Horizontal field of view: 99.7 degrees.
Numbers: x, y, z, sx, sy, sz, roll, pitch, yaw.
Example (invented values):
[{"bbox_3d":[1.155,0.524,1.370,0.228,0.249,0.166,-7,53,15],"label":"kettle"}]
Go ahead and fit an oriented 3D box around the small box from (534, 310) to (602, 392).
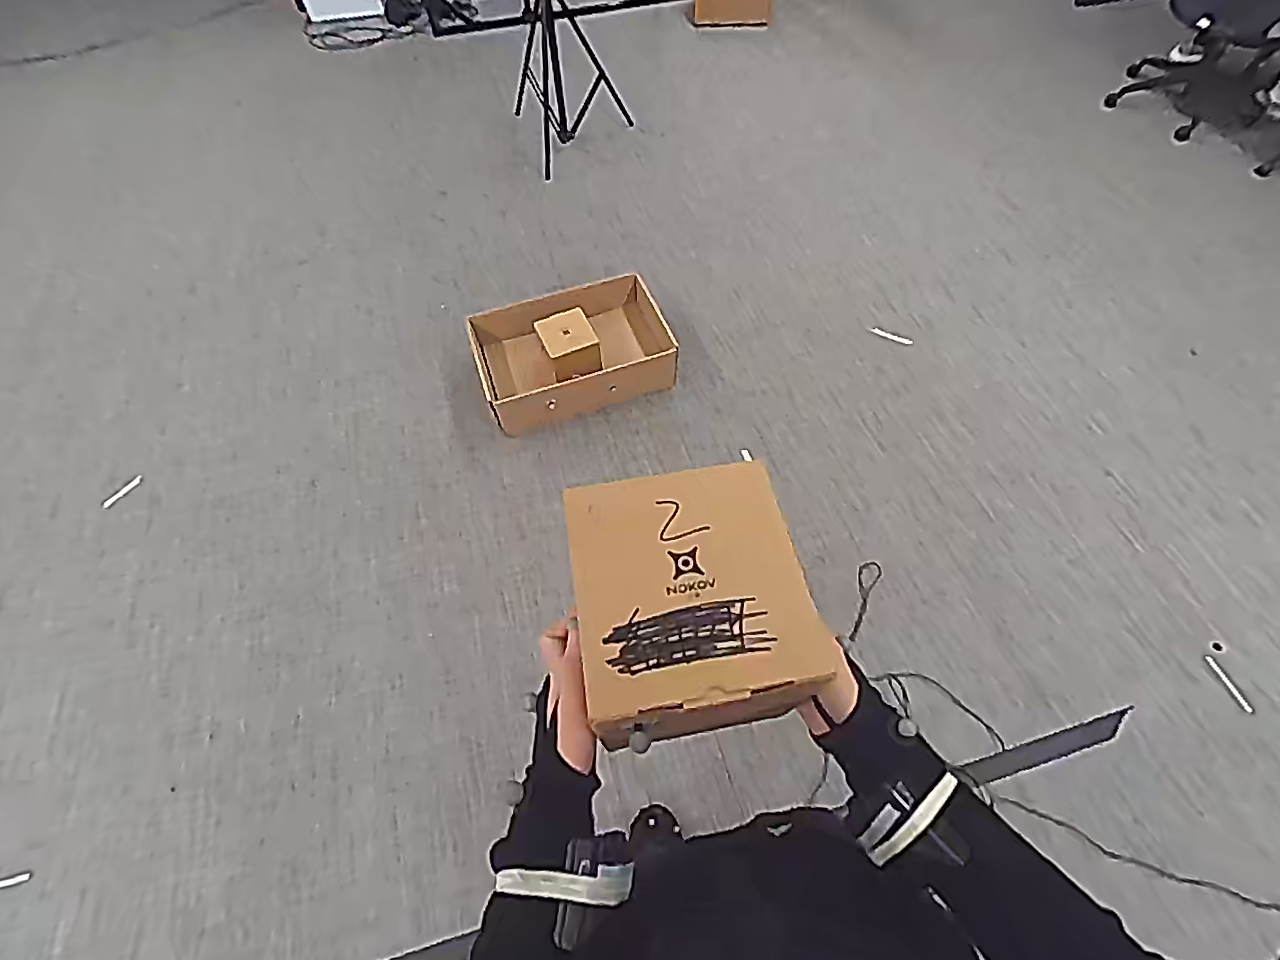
[{"bbox_3d":[-0.235,-0.426,1.793,0.168,0.176,0.179,-23,63,-11],"label":"small box"}]
